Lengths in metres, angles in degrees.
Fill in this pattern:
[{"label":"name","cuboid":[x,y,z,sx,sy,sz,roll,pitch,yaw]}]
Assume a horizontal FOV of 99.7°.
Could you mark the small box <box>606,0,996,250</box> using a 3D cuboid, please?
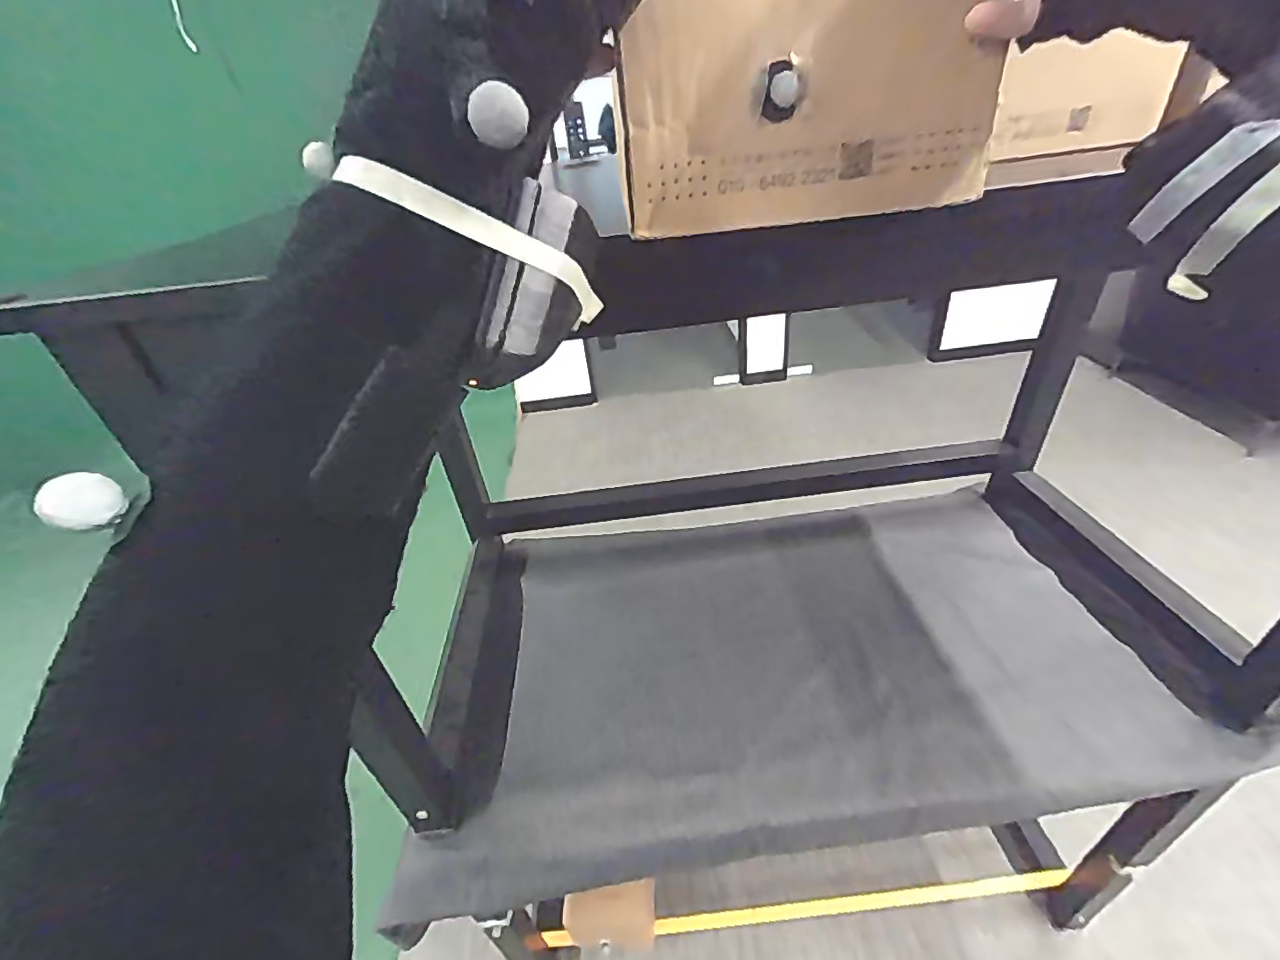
[{"label":"small box","cuboid":[0.068,-0.233,0.300,0.168,0.176,0.179,-6,33,2]}]
